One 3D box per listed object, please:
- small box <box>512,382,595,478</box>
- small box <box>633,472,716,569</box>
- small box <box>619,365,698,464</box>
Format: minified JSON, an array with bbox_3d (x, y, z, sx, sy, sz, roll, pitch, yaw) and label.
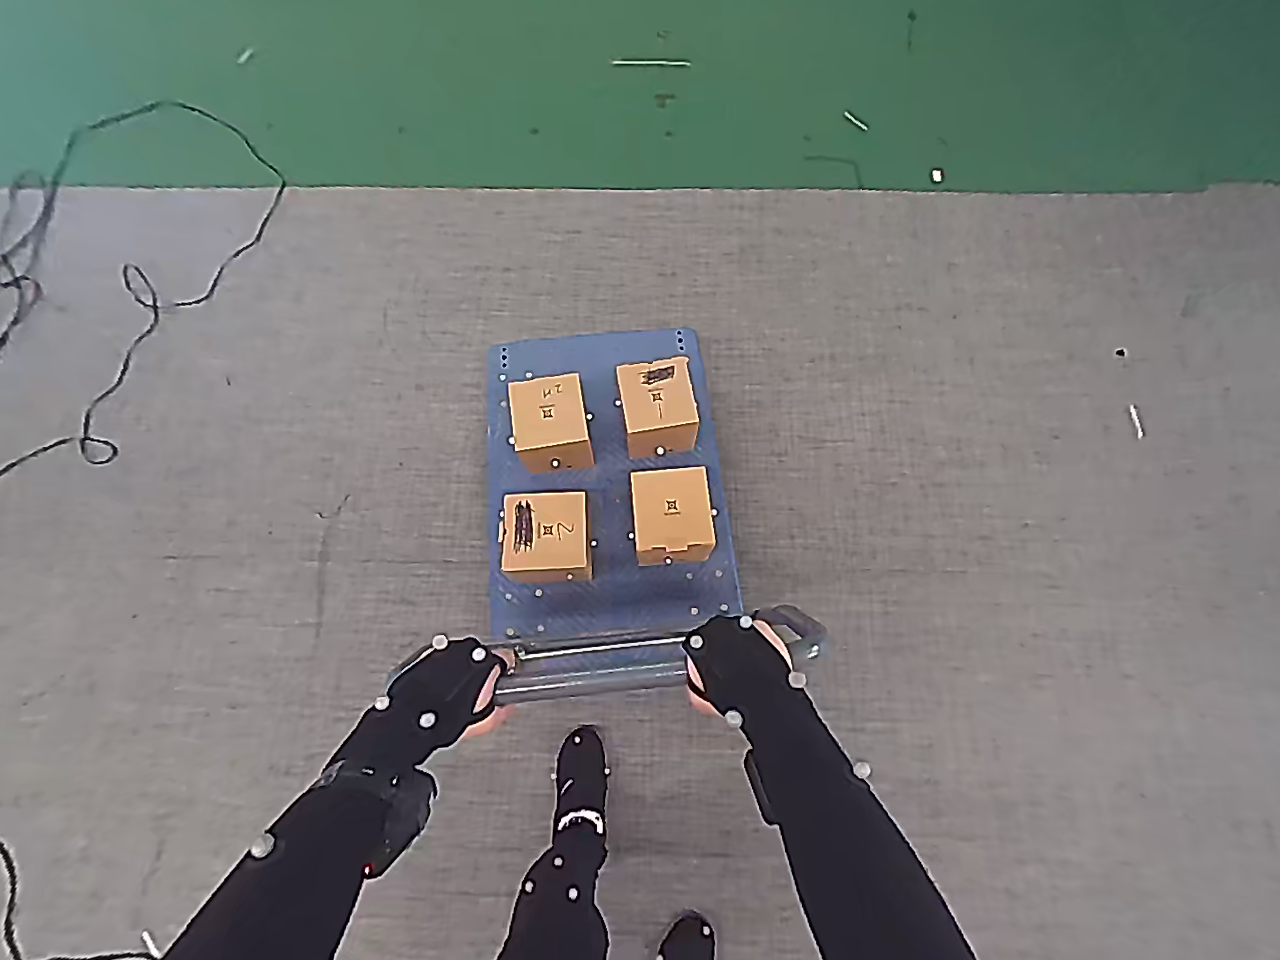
[{"bbox_3d":[-0.206,-0.113,1.317,0.168,0.176,0.179,-9,70,-4],"label":"small box"},{"bbox_3d":[0.072,0.097,1.240,0.168,0.176,0.179,-5,71,-1],"label":"small box"},{"bbox_3d":[0.041,-0.157,1.330,0.168,0.176,0.179,-10,71,-2],"label":"small box"}]
